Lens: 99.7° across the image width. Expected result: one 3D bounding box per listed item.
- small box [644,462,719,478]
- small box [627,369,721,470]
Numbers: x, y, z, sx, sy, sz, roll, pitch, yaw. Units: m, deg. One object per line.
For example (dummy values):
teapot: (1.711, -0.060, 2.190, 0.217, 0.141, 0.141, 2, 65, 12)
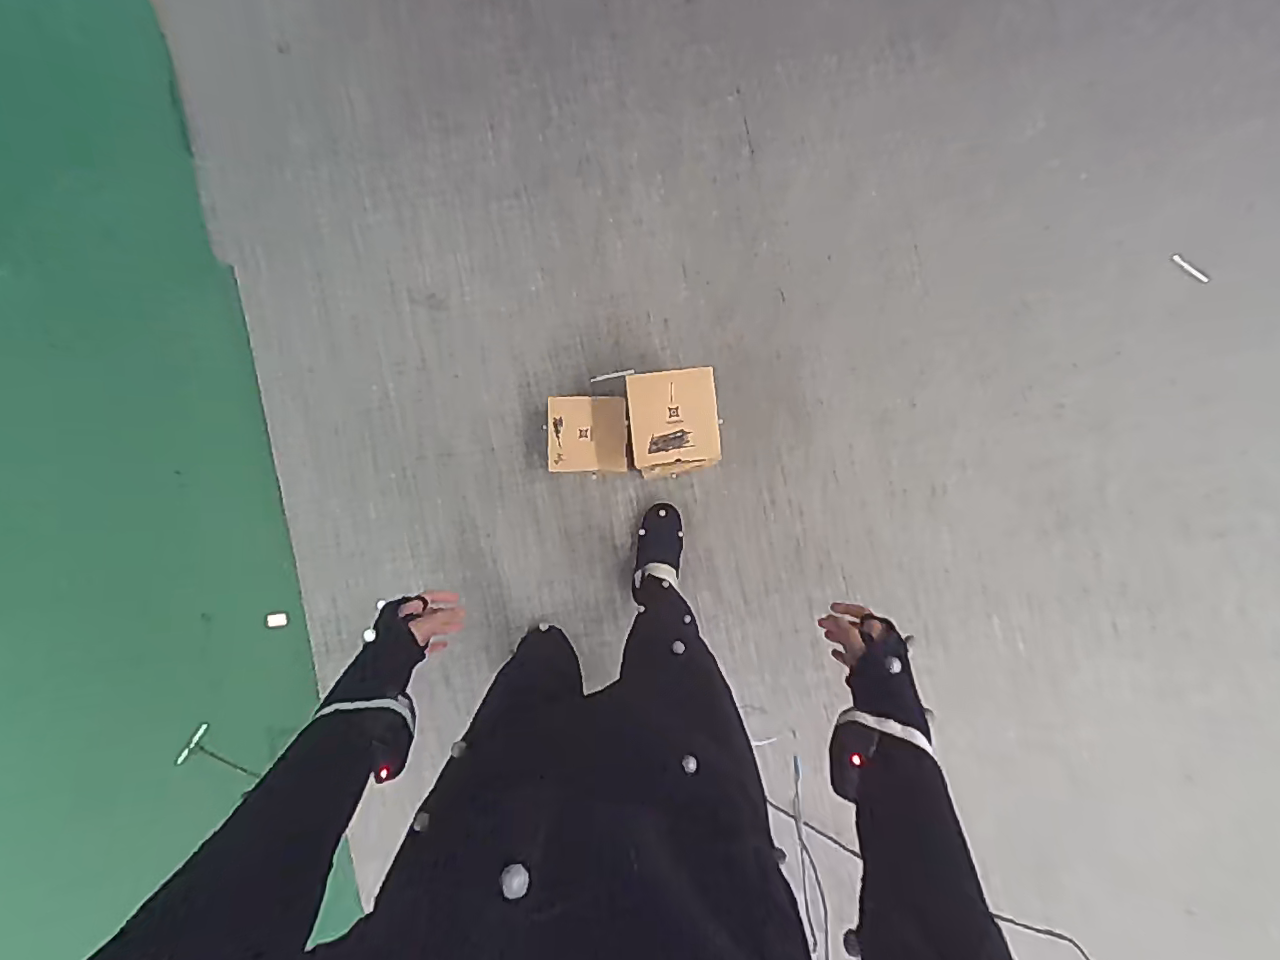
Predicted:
small box: (0.076, -0.104, 1.249, 0.168, 0.176, 0.179, -11, 90, 2)
small box: (0.068, -0.114, 1.084, 0.168, 0.176, 0.179, -6, 90, 2)
